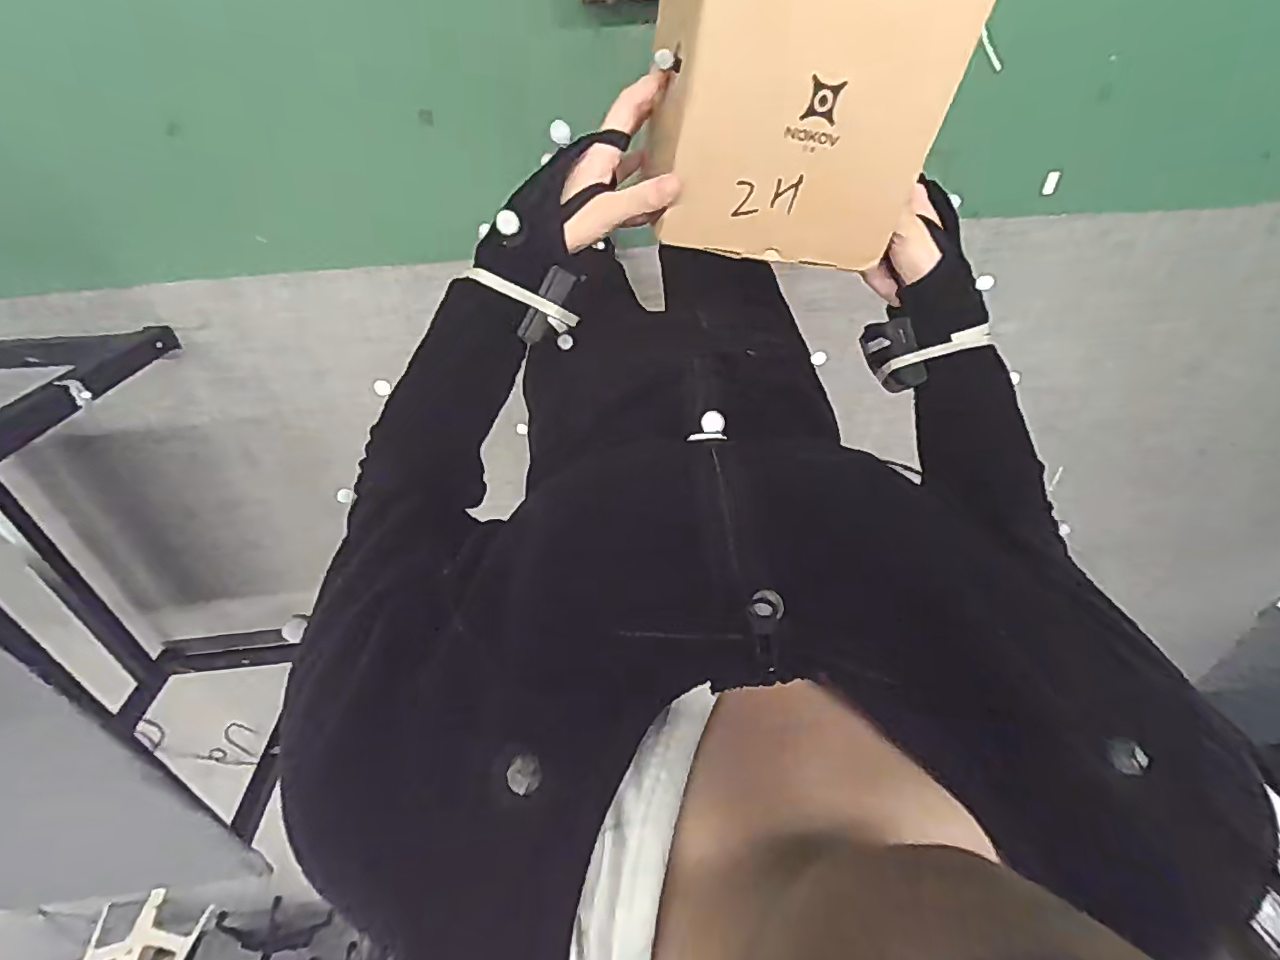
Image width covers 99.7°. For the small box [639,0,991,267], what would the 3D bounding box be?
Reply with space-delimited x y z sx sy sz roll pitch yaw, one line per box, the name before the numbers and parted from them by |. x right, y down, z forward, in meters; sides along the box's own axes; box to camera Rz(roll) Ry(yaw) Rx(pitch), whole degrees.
small box | 0.099 -0.281 0.393 0.168 0.176 0.179 4 130 -12
